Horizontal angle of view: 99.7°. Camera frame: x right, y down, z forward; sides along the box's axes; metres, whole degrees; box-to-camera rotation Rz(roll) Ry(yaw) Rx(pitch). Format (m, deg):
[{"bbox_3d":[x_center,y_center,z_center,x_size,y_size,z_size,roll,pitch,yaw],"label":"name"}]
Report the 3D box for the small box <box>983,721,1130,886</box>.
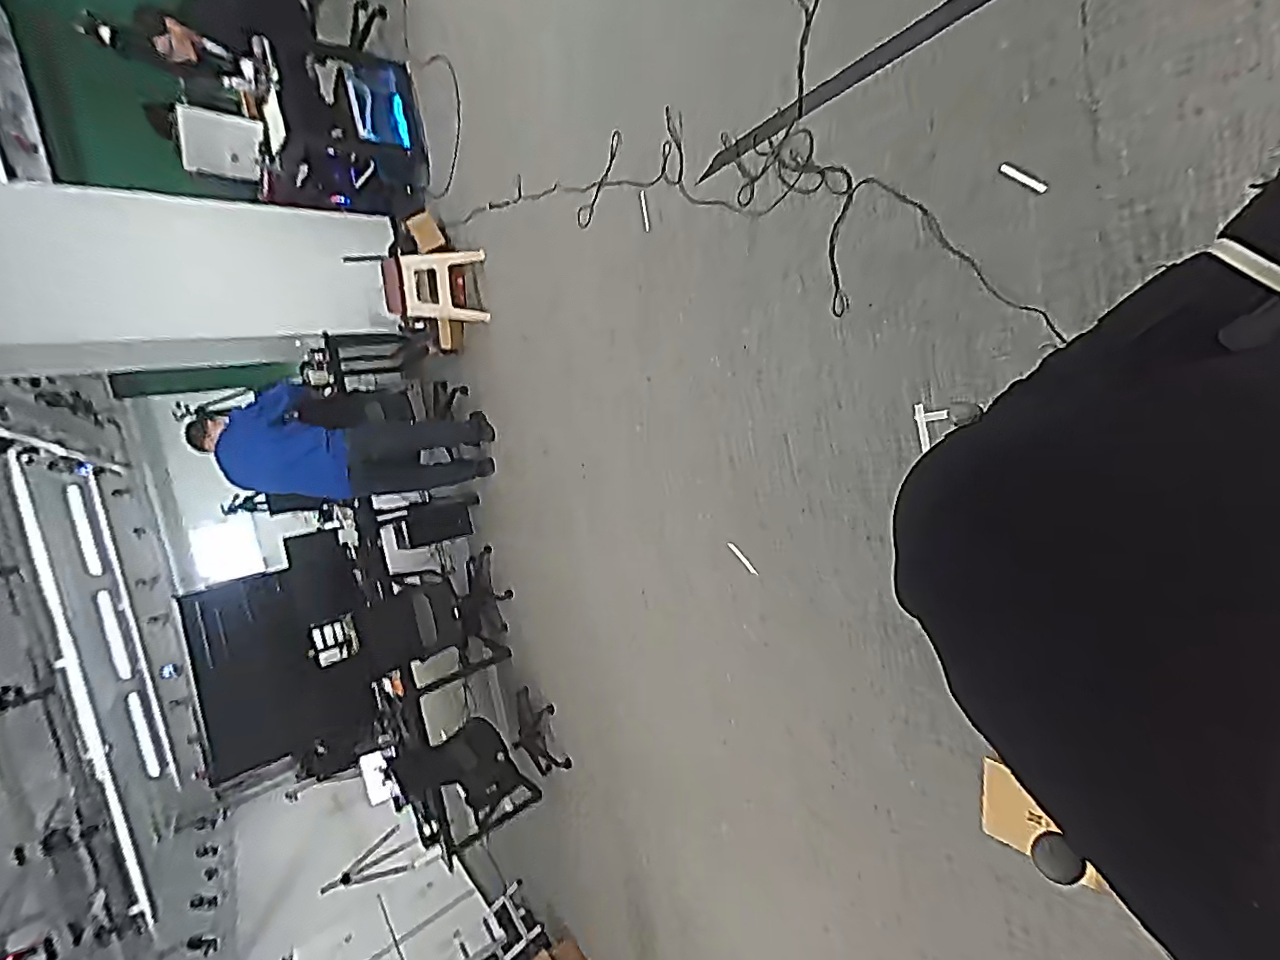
[{"bbox_3d":[0.766,0.578,0.999,0.179,0.176,0.168,8,108,50],"label":"small box"}]
